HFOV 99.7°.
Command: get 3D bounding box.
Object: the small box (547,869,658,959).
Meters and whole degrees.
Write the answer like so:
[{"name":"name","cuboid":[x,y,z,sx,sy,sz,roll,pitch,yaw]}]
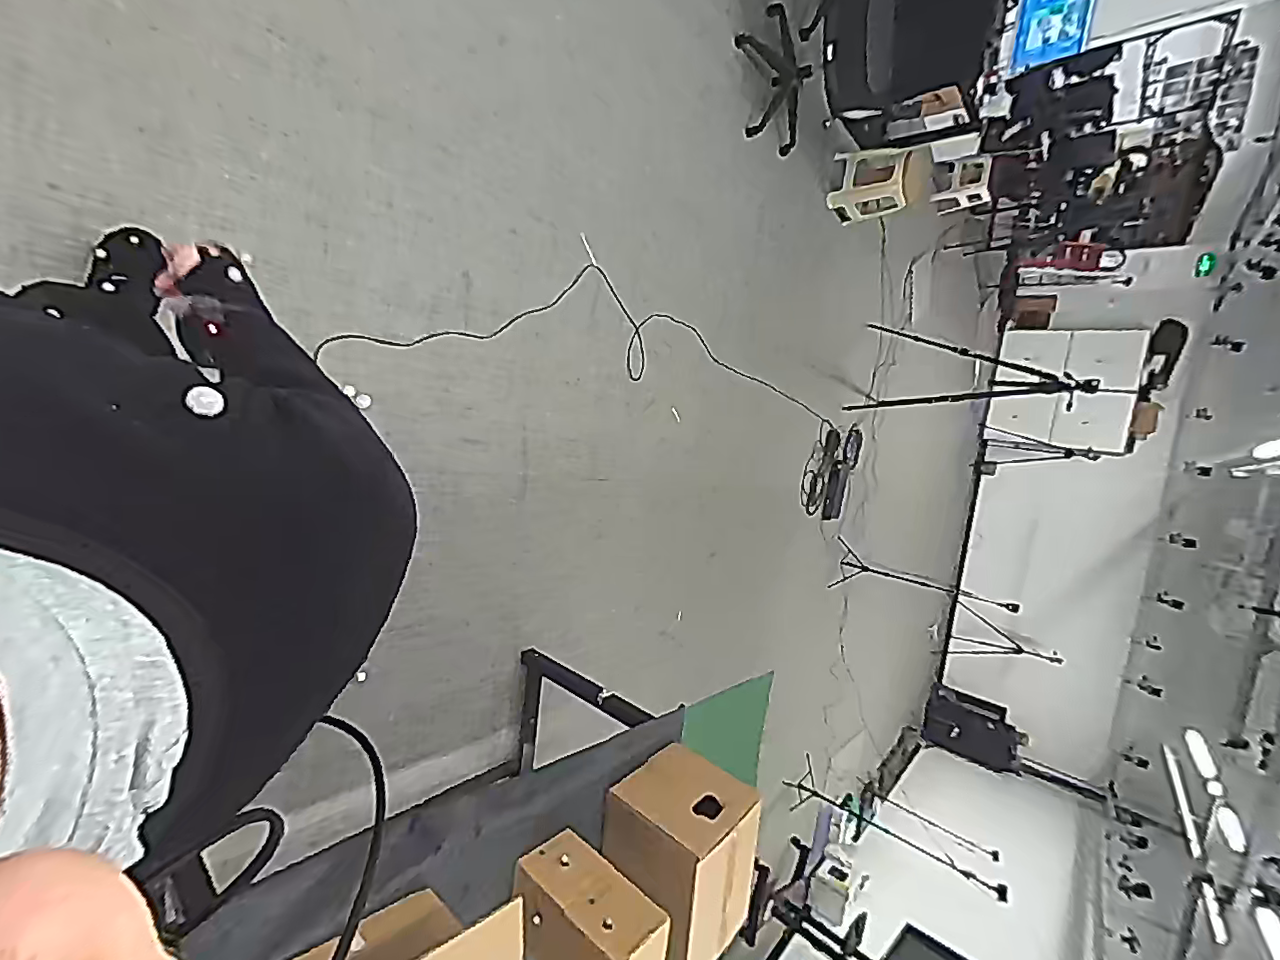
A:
[{"name":"small box","cuboid":[-0.086,1.009,1.192,0.168,0.176,0.179,0,102,-50]}]
